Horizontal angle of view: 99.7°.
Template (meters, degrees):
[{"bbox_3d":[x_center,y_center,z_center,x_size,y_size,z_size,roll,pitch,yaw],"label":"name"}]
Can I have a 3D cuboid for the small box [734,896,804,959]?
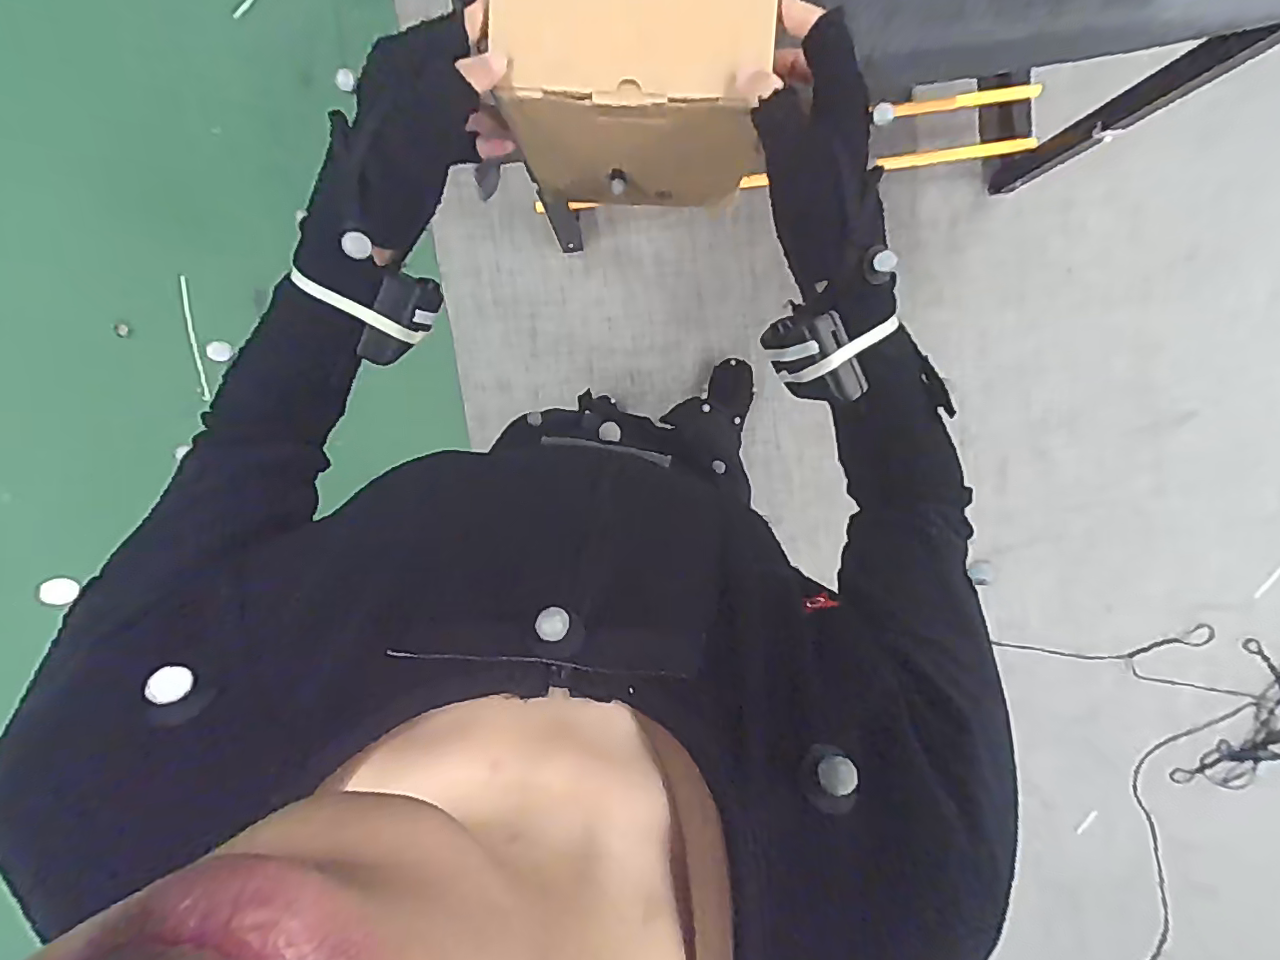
[{"bbox_3d":[0.374,1.368,1.590,0.168,0.176,0.179,0,99,-1],"label":"small box"}]
